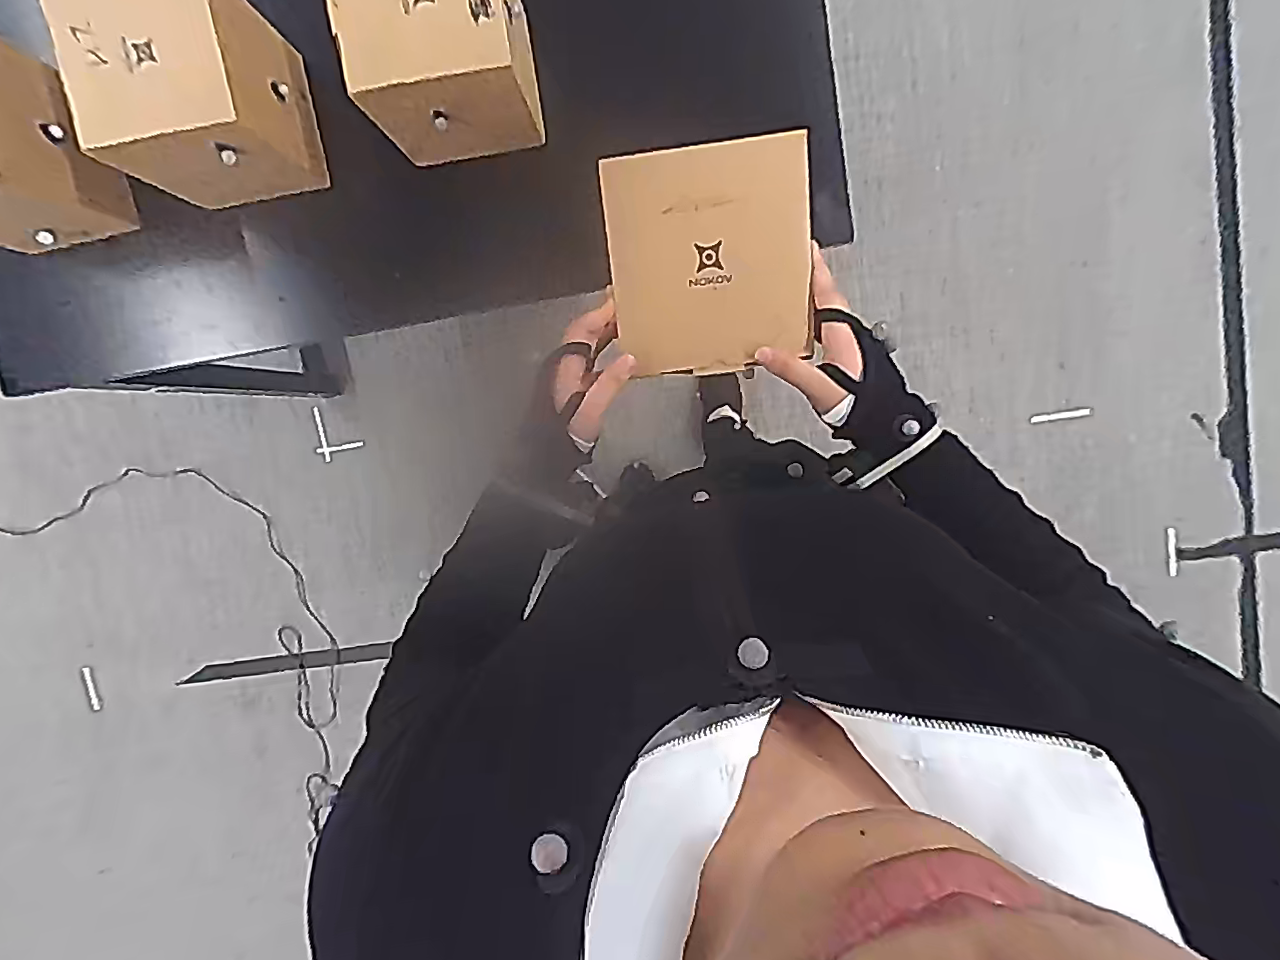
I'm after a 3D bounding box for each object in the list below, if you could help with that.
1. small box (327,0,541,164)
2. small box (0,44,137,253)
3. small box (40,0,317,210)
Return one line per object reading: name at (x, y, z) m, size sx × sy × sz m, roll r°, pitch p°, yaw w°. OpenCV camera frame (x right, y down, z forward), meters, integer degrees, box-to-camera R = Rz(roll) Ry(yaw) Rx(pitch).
small box at (-0.229, -0.496, 0.627) m, size 0.179 × 0.176 × 0.168 m, roll -8°, pitch 97°, yaw 3°
small box at (-0.780, -0.400, 0.654) m, size 0.168 × 0.176 × 0.179 m, roll -11°, pitch 98°, yaw 3°
small box at (-0.517, -0.446, 0.640) m, size 0.179 × 0.176 × 0.168 m, roll -10°, pitch 96°, yaw 3°
